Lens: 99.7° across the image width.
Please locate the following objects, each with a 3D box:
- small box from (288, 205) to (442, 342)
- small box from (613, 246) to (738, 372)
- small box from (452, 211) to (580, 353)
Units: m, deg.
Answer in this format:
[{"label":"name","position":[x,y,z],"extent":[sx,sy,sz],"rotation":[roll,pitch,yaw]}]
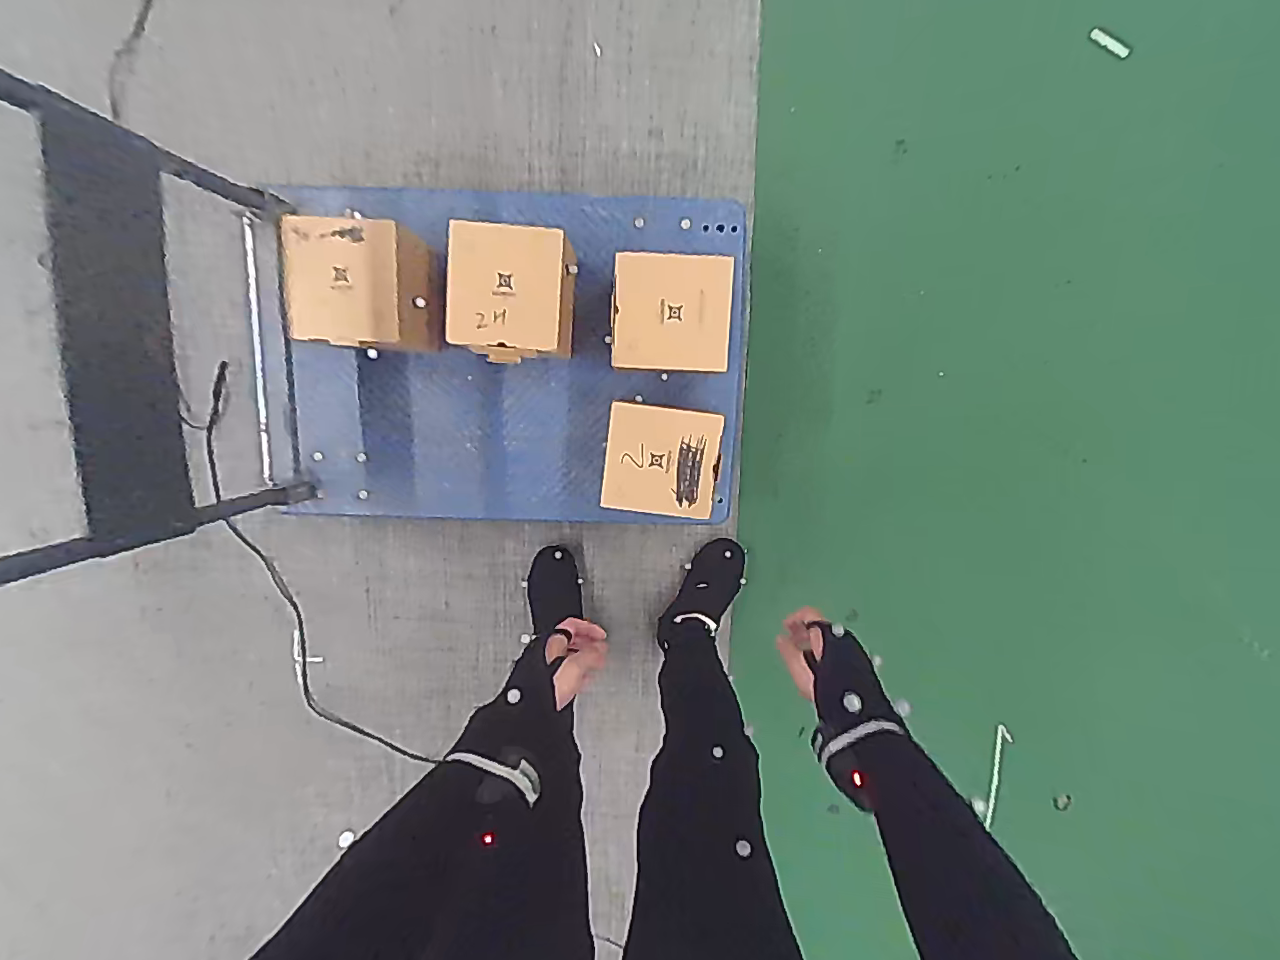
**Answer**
[{"label":"small box","position":[-0.426,-0.317,0.864],"extent":[0.168,0.176,0.179],"rotation":[3,100,-1]},{"label":"small box","position":[0.052,-0.266,0.875],"extent":[0.179,0.176,0.168],"rotation":[4,100,-1]},{"label":"small box","position":[-0.190,-0.306,0.868],"extent":[0.168,0.176,0.179],"rotation":[6,100,-1]}]
